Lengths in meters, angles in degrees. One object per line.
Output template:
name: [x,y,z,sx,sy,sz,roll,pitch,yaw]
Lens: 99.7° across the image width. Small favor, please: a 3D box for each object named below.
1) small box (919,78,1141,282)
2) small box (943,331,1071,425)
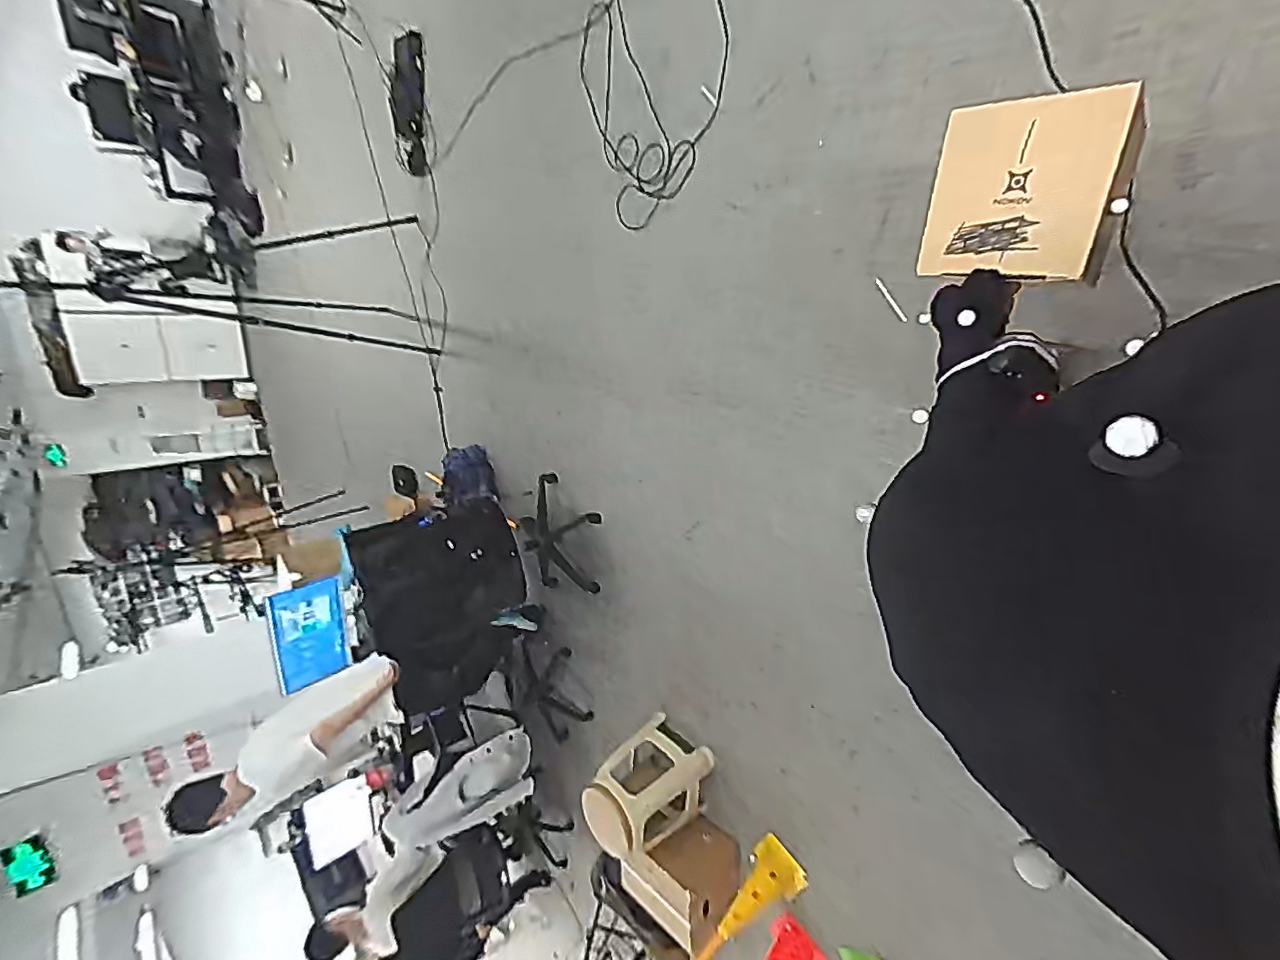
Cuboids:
small box: [0.459,-0.333,0.638,0.168,0.176,0.179,20,114,38]
small box: [0.813,-0.233,1.195,0.179,0.176,0.168,26,119,40]
